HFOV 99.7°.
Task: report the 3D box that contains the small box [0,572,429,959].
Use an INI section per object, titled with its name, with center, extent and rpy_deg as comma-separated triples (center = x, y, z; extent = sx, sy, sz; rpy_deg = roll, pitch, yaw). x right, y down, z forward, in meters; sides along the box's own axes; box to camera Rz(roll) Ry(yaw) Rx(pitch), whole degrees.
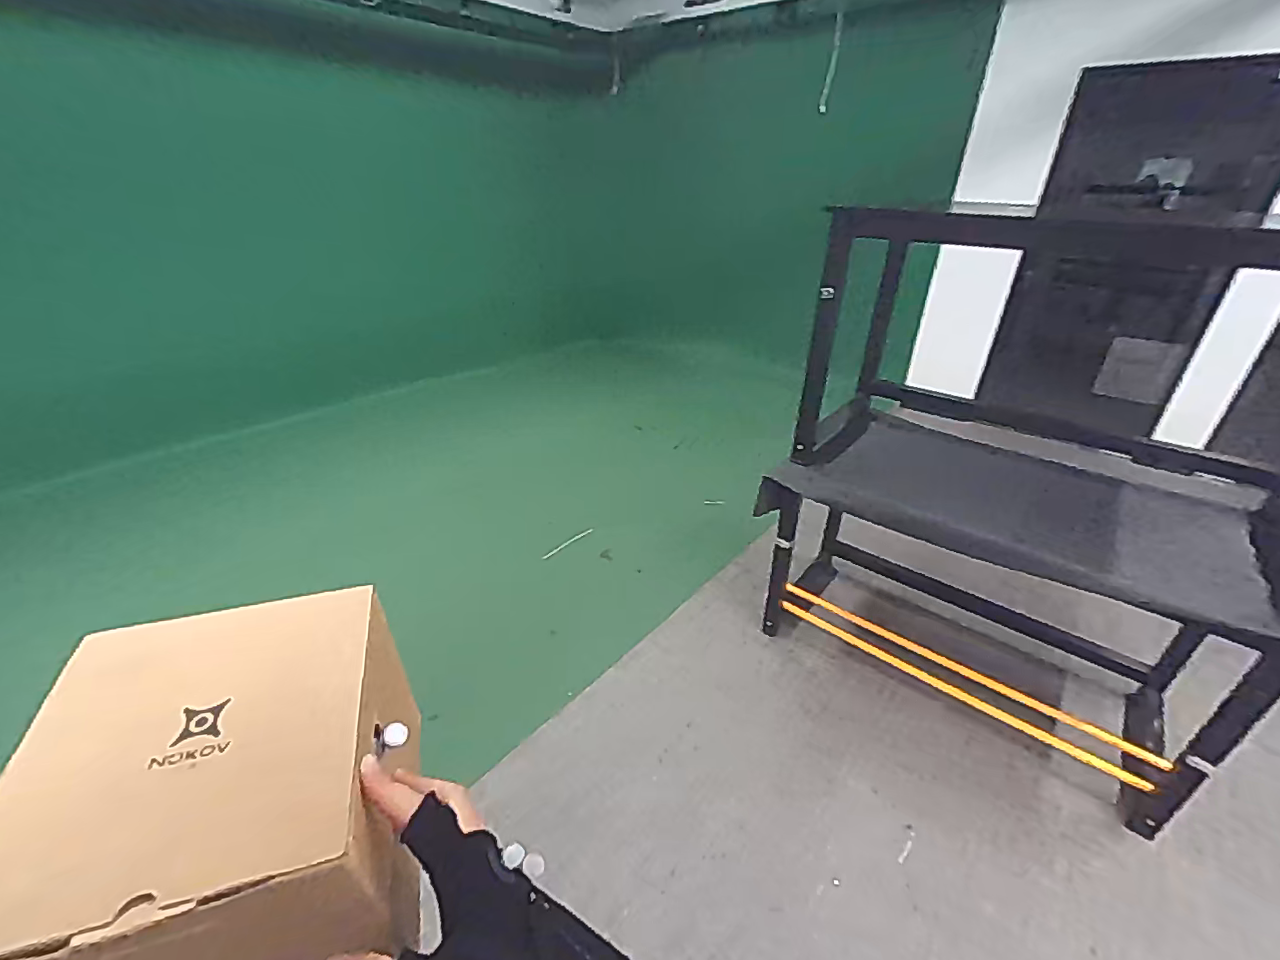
[small box]
center = -0.237, 0.189, 0.346
extent = 0.168, 0.176, 0.179
rpy_deg = -8, 37, -15
